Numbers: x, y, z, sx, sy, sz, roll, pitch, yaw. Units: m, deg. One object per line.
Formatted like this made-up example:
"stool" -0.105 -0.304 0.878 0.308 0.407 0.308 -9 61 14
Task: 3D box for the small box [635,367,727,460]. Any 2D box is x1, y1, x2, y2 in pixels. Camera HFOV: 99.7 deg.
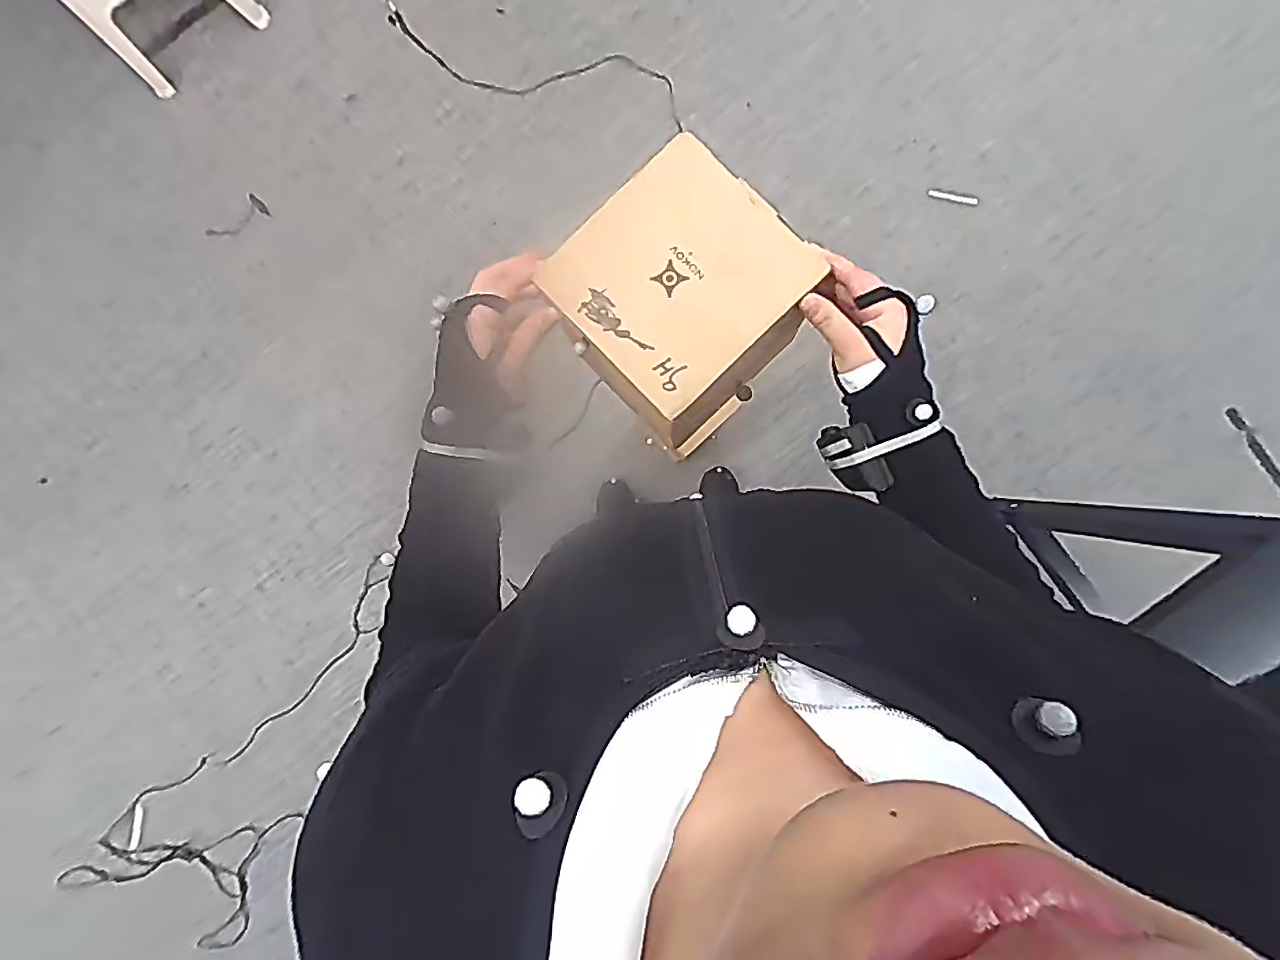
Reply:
"small box" 0.102 -0.168 1.429 0.179 0.176 0.168 -41 89 1
